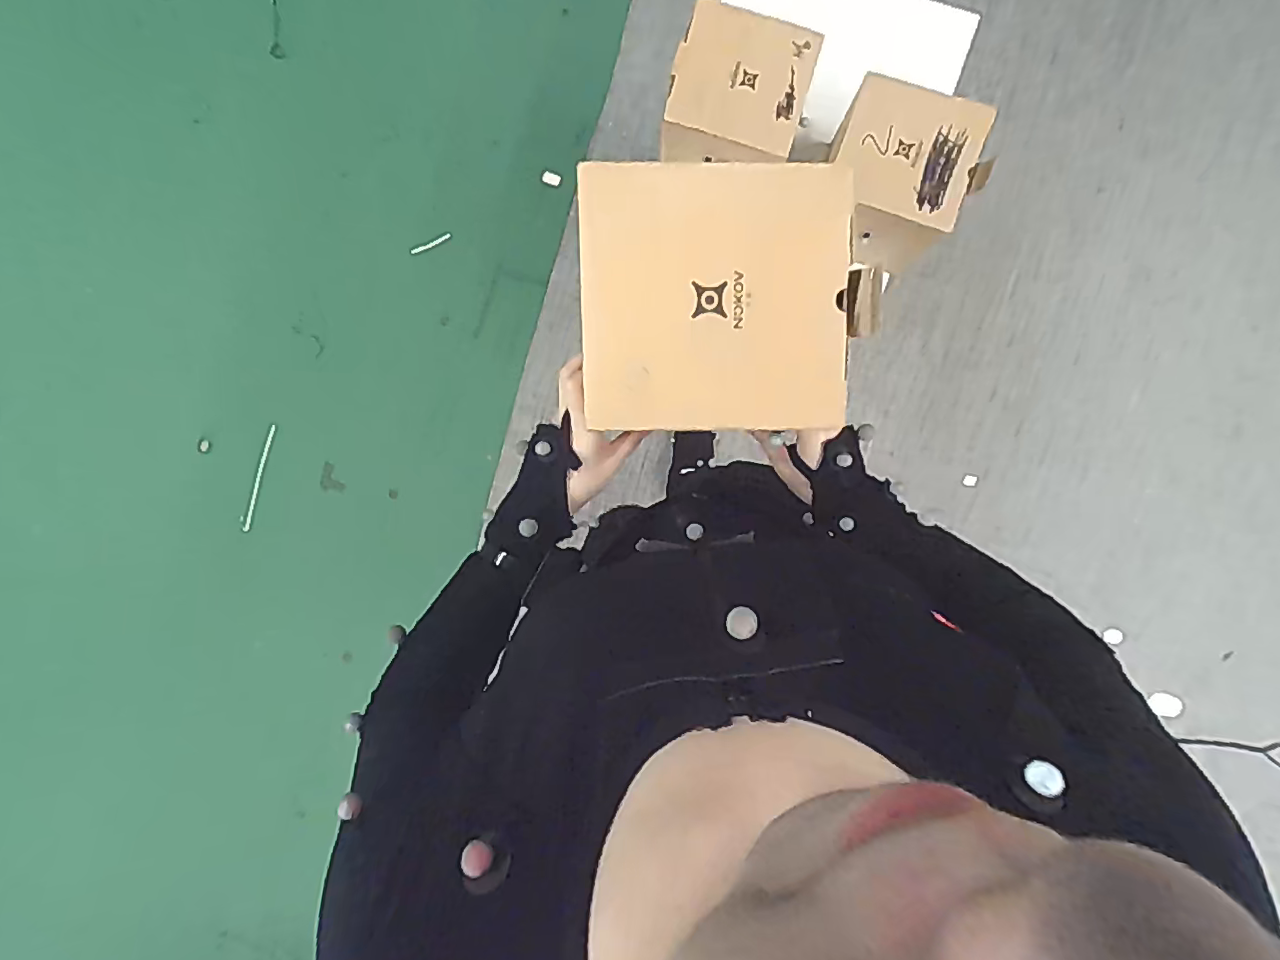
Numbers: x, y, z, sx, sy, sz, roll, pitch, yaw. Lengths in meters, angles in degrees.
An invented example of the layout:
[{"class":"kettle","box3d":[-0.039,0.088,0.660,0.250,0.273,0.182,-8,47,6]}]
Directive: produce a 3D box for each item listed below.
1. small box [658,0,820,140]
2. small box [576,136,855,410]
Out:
[{"class":"small box","box3d":[0.131,-0.528,0.787,0.179,0.176,0.168,17,93,0]},{"class":"small box","box3d":[0.045,-0.139,0.423,0.179,0.176,0.168,-1,97,-3]}]
